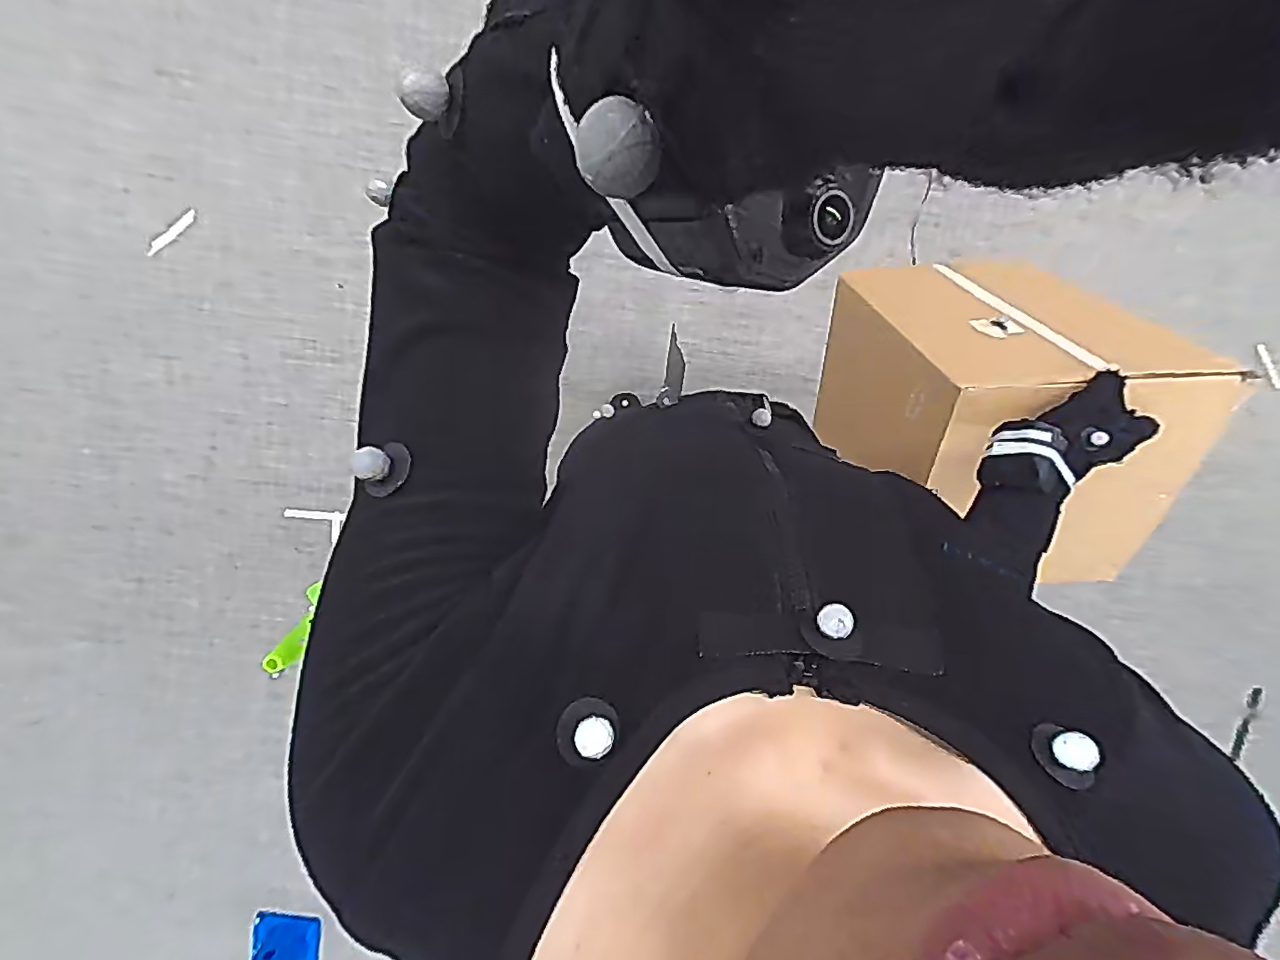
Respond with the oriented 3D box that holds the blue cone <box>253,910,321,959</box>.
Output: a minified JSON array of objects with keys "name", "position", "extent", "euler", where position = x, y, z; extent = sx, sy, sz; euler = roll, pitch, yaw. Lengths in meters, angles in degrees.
[{"name":"blue cone","position":[-1.085,1.445,1.509],"extent":[0.192,0.380,0.193],"euler":[10,98,-1]}]

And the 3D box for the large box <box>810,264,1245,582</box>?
[{"name":"large box","position":[0.481,-0.103,0.811],"extent":[0.320,0.408,0.320],"euler":[-3,128,1]}]
